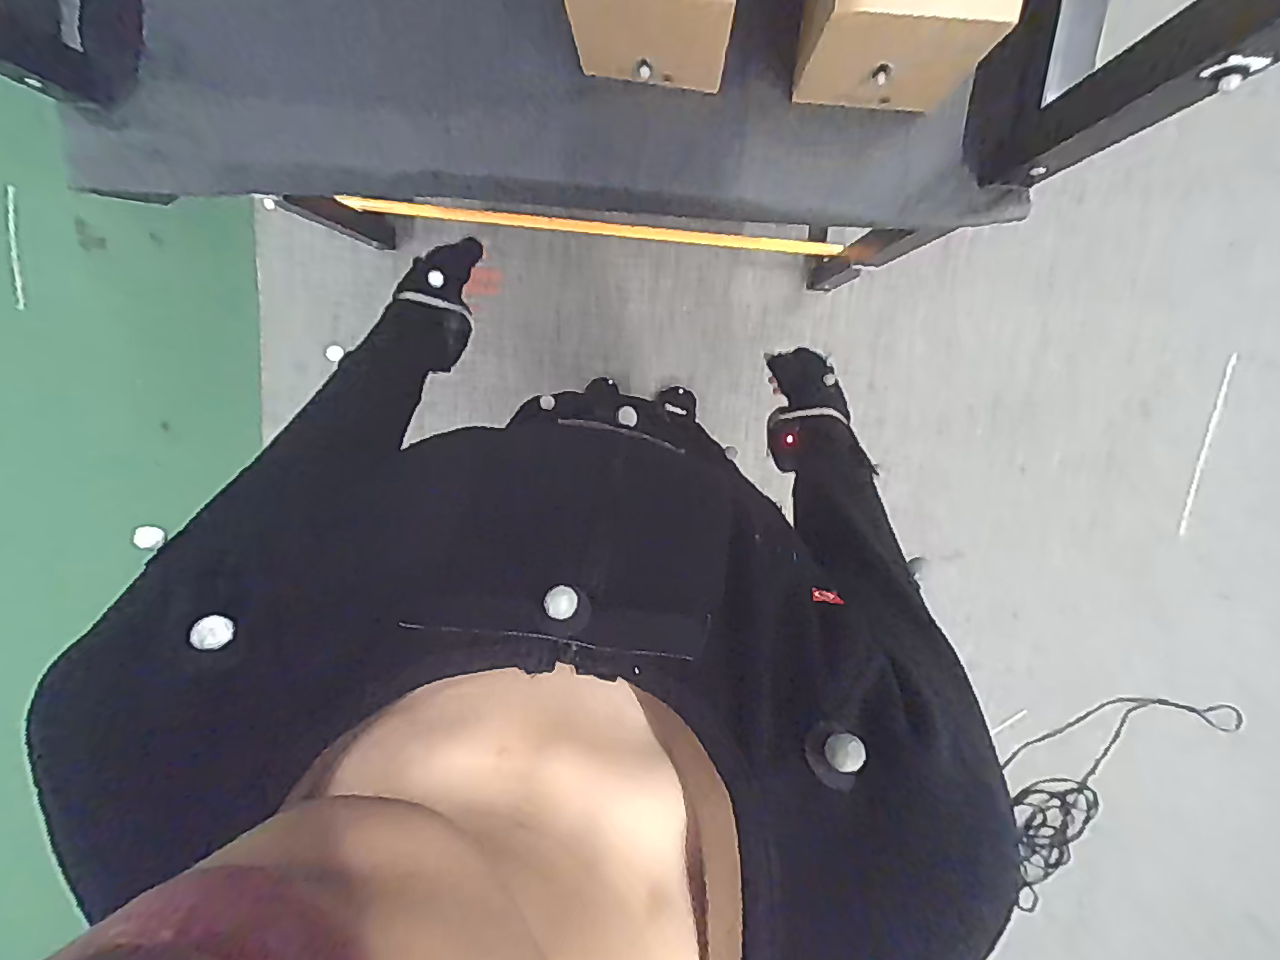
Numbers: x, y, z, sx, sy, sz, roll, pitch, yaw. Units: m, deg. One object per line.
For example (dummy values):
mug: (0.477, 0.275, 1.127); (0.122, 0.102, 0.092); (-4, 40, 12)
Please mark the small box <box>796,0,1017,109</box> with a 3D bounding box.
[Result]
small box: (0.266, -0.514, 0.551); (0.168, 0.176, 0.179); (5, 100, 1)
